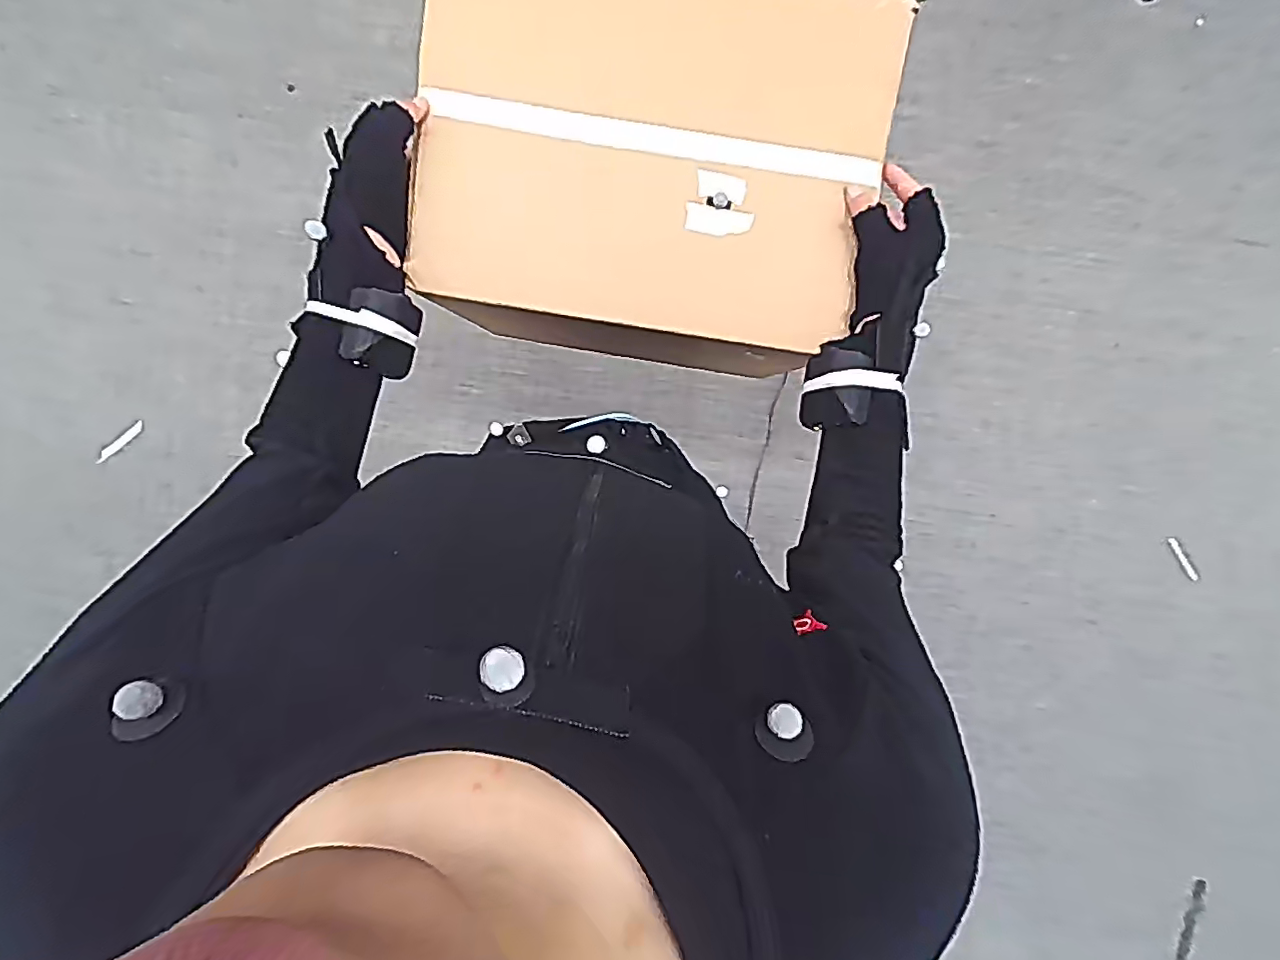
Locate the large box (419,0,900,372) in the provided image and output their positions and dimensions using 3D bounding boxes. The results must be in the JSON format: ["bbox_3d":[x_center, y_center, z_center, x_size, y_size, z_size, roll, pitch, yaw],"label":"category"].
[{"bbox_3d":[0.008,-0.317,0.633,0.408,0.320,0.320,9,98,-2],"label":"large box"}]
